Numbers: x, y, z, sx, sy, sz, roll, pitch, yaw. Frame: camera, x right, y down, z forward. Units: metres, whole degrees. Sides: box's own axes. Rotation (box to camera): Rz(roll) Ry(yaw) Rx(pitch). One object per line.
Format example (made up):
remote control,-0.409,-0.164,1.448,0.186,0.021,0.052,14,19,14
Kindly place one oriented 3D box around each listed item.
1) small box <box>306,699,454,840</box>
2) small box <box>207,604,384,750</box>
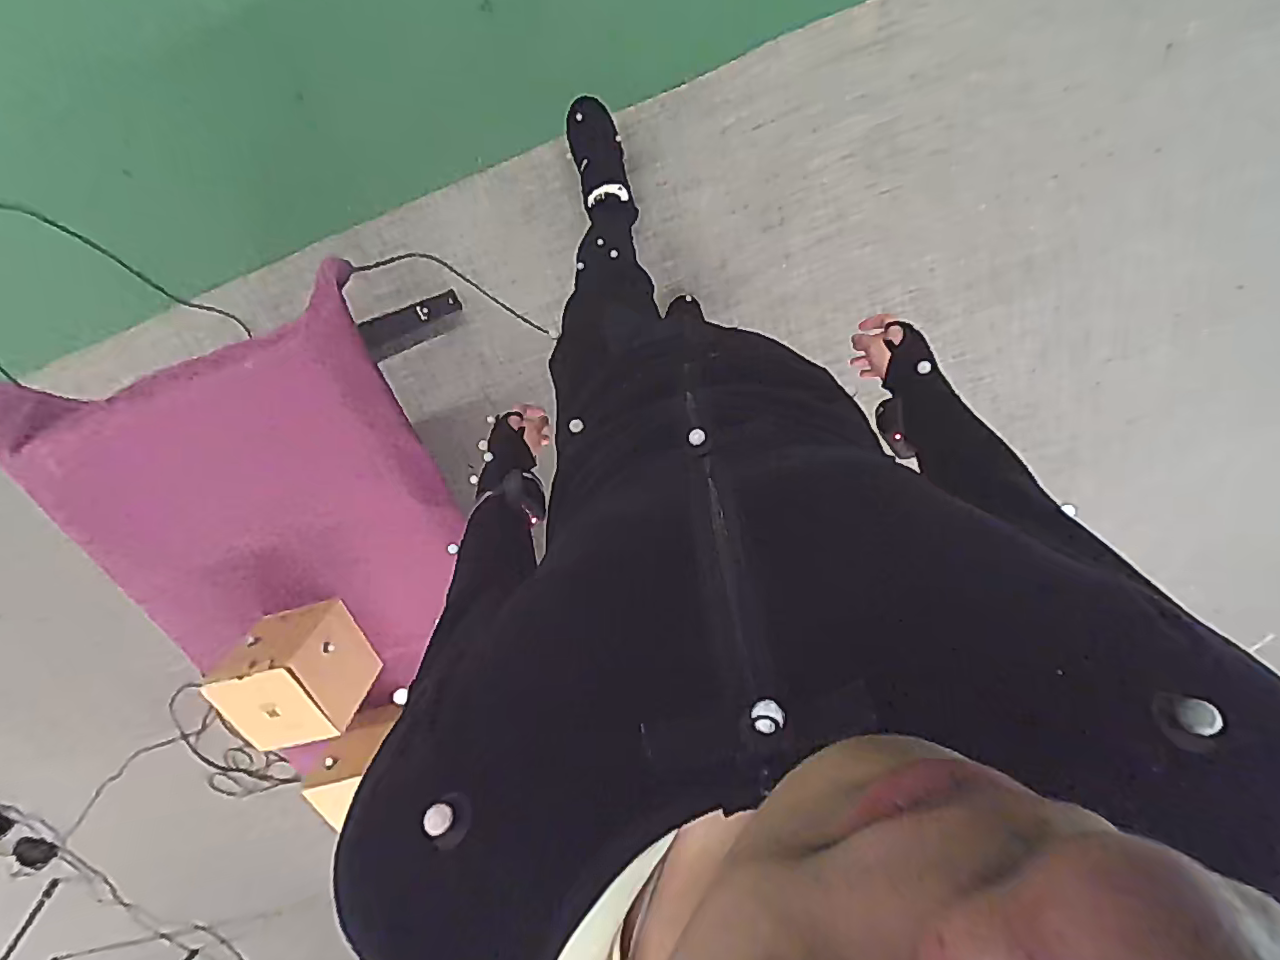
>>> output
small box,-0.504,0.572,1.079,0.179,0.176,0.168,-18,114,9
small box,-0.603,0.344,0.973,0.168,0.176,0.179,-14,115,8
